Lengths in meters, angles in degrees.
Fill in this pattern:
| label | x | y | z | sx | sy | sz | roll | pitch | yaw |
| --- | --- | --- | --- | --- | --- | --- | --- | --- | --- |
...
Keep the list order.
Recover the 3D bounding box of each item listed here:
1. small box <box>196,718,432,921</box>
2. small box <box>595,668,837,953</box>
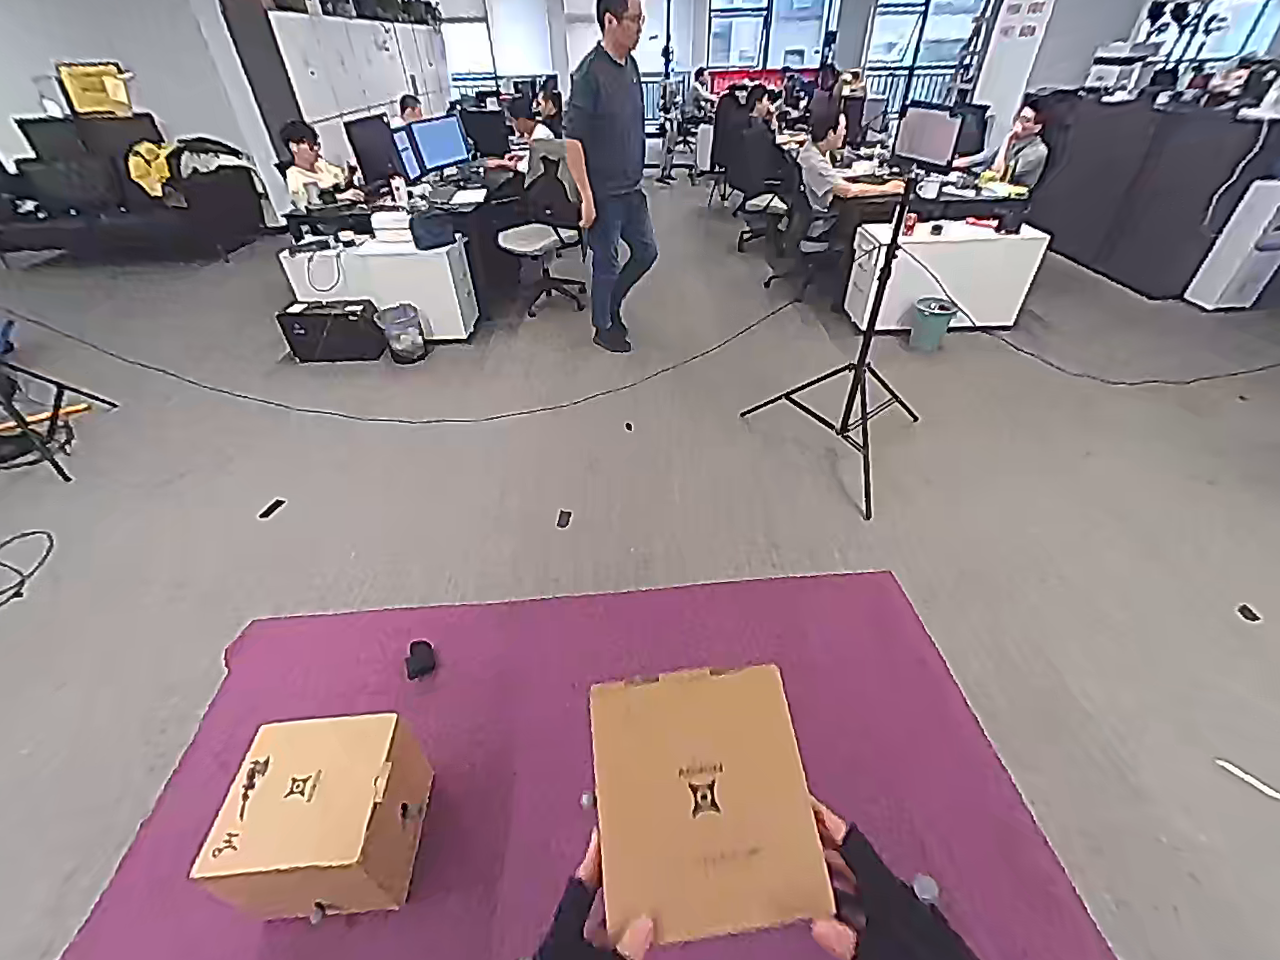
| label | x | y | z | sx | sy | sz | roll | pitch | yaw |
| --- | --- | --- | --- | --- | --- | --- | --- | --- | --- |
| small box | -0.378 | 0.420 | 0.673 | 0.179 | 0.176 | 0.168 | -3 | 38 | -3 |
| small box | 0.046 | 0.284 | 0.486 | 0.168 | 0.176 | 0.179 | -5 | 60 | -5 |
